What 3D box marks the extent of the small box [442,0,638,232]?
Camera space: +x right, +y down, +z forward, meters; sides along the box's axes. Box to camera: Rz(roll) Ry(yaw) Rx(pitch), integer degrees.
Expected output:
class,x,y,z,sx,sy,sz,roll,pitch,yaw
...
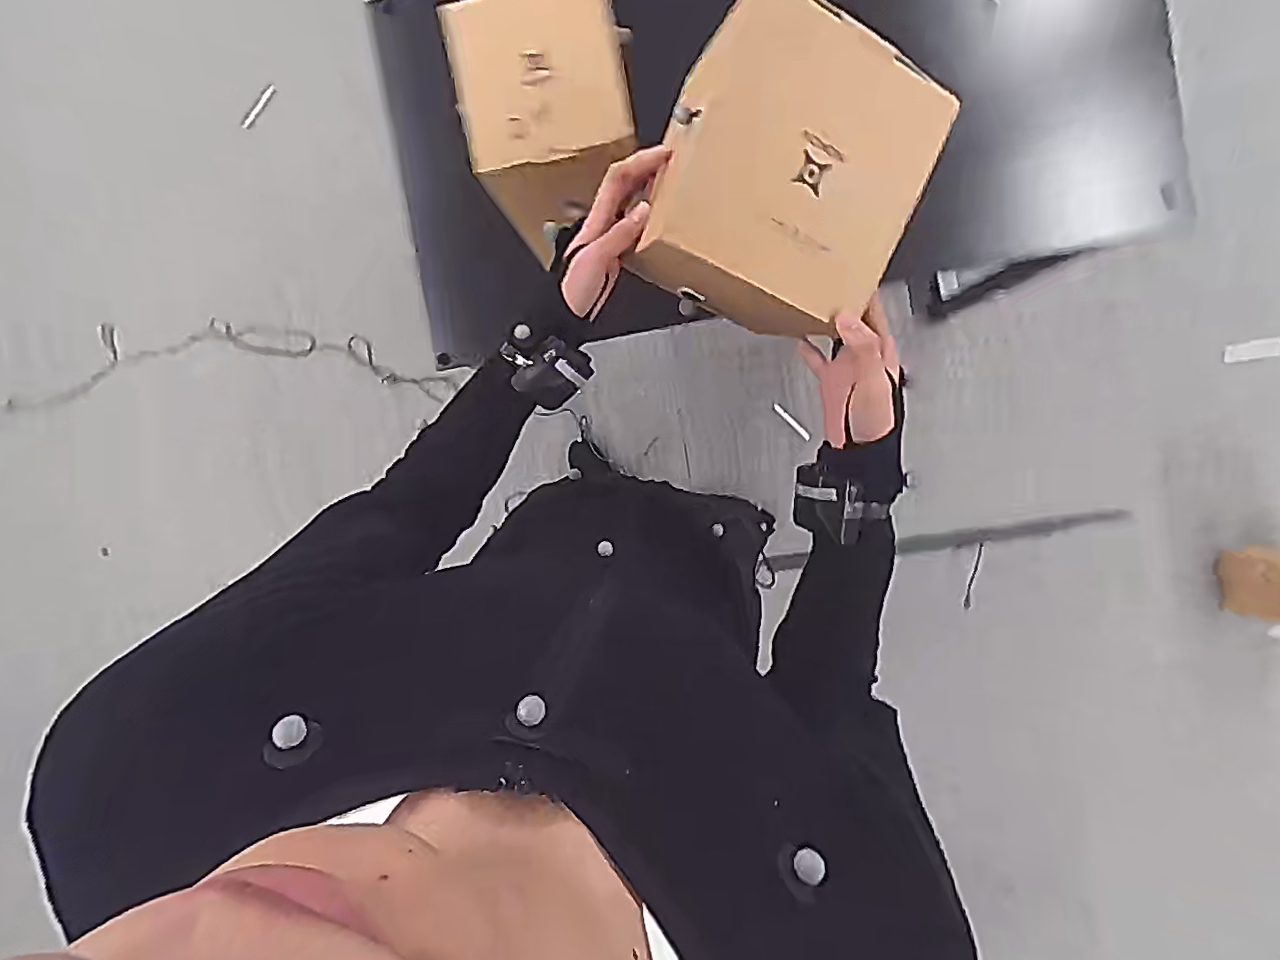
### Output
class,x,y,z,sx,sy,sz,roll,pitch,yaw
small box,-0.101,-0.419,0.623,0.168,0.176,0.179,-11,93,5

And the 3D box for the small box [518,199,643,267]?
class,x,y,z,sx,sy,sz,roll,pitch,yaw
small box,-0.090,-0.428,0.788,0.168,0.176,0.179,-12,93,4

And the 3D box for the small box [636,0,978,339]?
class,x,y,z,sx,sy,sz,roll,pitch,yaw
small box,0.110,-0.229,0.435,0.168,0.176,0.179,21,100,-16
